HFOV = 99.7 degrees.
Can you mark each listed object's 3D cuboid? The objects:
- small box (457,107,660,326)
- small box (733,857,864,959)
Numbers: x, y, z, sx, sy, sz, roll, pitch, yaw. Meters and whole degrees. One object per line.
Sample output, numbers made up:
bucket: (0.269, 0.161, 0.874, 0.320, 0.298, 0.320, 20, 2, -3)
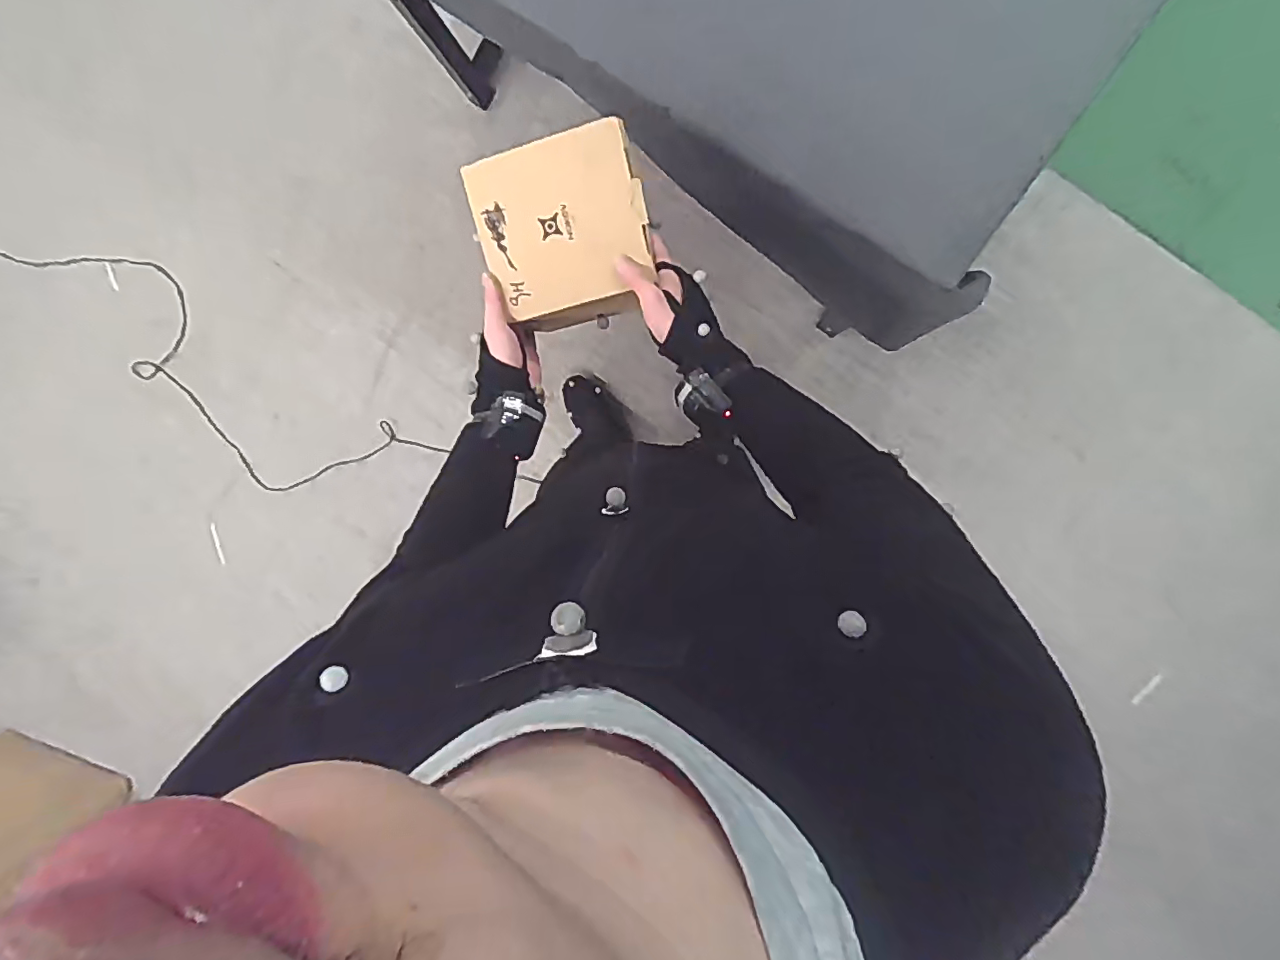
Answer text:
small box: (-0.077, -0.282, 0.621, 0.179, 0.176, 0.168, -12, 100, 7)
small box: (0.279, 0.833, 0.959, 0.168, 0.176, 0.179, 35, 99, 0)
